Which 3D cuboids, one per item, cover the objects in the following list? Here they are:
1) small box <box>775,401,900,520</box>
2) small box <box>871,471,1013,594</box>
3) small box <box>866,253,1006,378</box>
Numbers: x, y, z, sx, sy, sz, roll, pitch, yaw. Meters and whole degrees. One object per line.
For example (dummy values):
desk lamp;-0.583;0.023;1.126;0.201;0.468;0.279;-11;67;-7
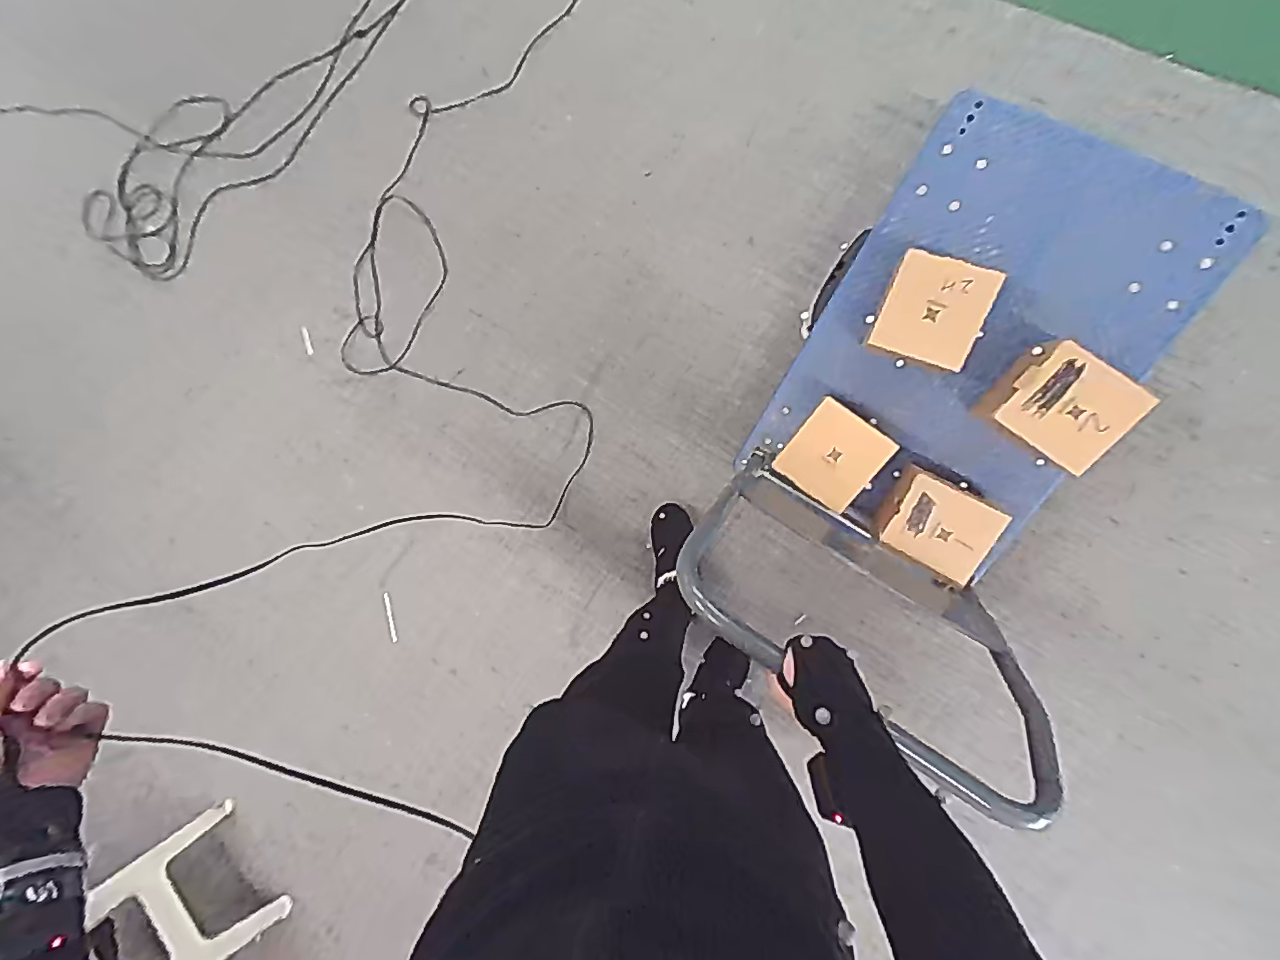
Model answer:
small box;0.400;-0.051;1.119;0.168;0.176;0.179;39;110;8
small box;0.585;0.094;1.079;0.179;0.176;0.168;29;107;12
small box;0.545;-0.302;1.028;0.168;0.176;0.179;23;106;13
